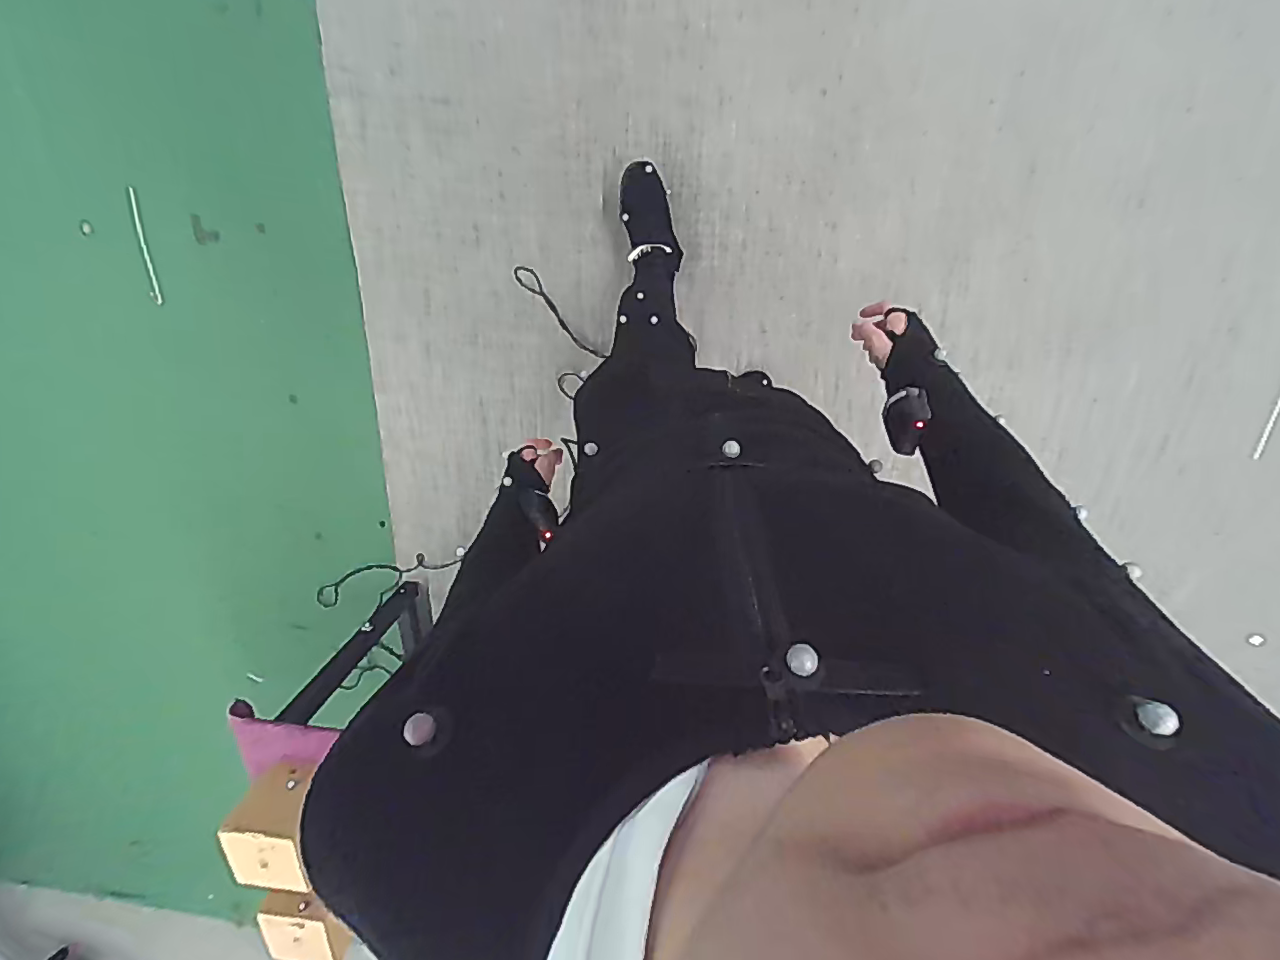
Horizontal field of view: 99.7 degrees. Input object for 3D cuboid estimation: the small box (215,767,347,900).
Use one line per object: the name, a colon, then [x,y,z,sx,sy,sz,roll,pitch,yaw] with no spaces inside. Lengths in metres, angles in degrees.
small box: [-0.781,0.778,1.200,0.168,0.176,0.179,5,112,3]

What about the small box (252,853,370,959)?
small box: [-0.778,1.036,1.302,0.168,0.176,0.179,3,111,5]
